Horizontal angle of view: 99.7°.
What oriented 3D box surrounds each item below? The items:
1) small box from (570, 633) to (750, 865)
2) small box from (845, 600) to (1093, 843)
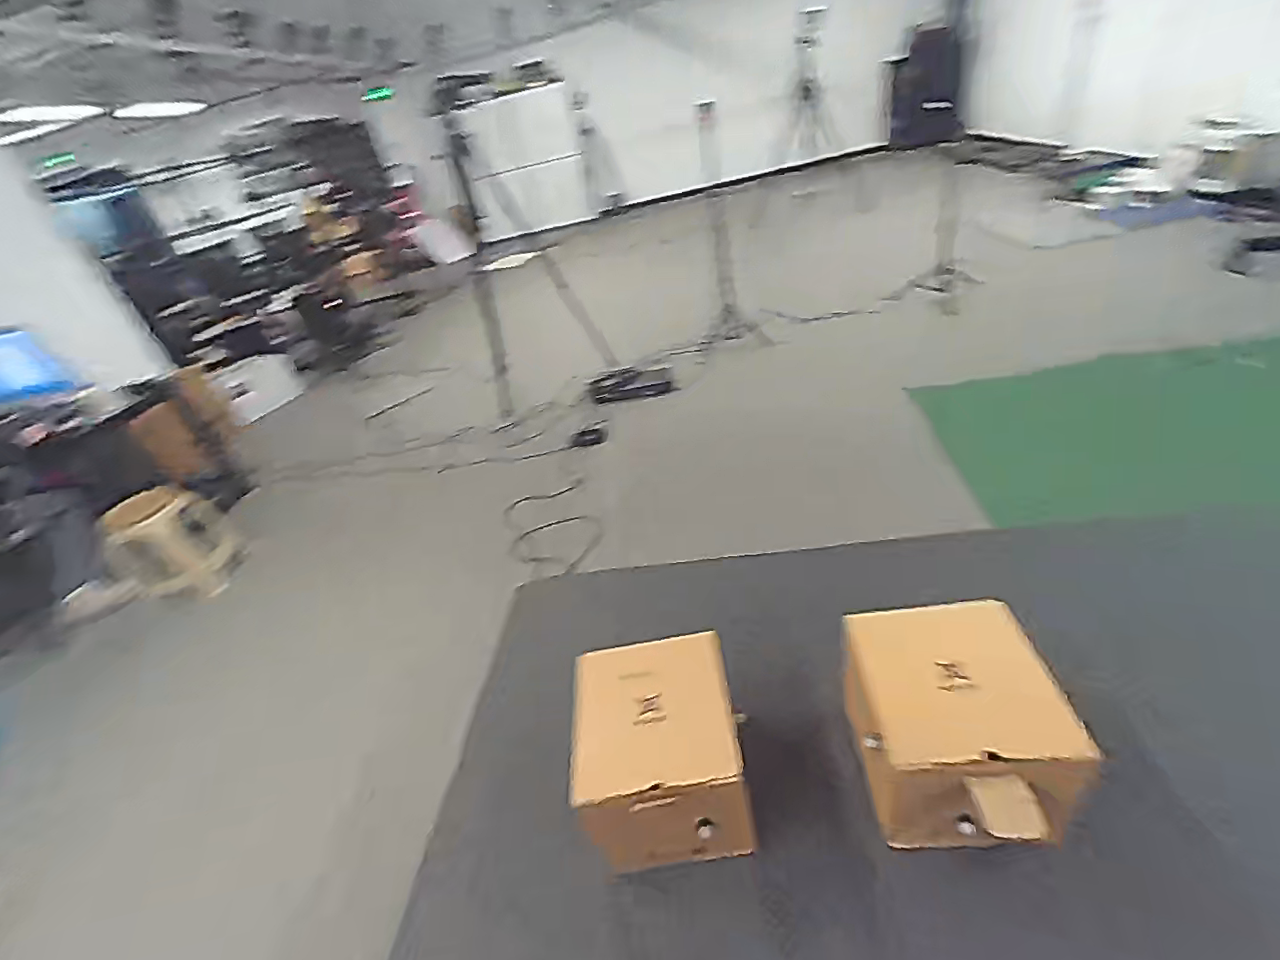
[{"bbox_3d":[0.024,0.311,0.622,0.168,0.176,0.179,-11,33,3],"label":"small box"},{"bbox_3d":[0.325,0.257,0.583,0.168,0.176,0.179,-9,35,8],"label":"small box"}]
